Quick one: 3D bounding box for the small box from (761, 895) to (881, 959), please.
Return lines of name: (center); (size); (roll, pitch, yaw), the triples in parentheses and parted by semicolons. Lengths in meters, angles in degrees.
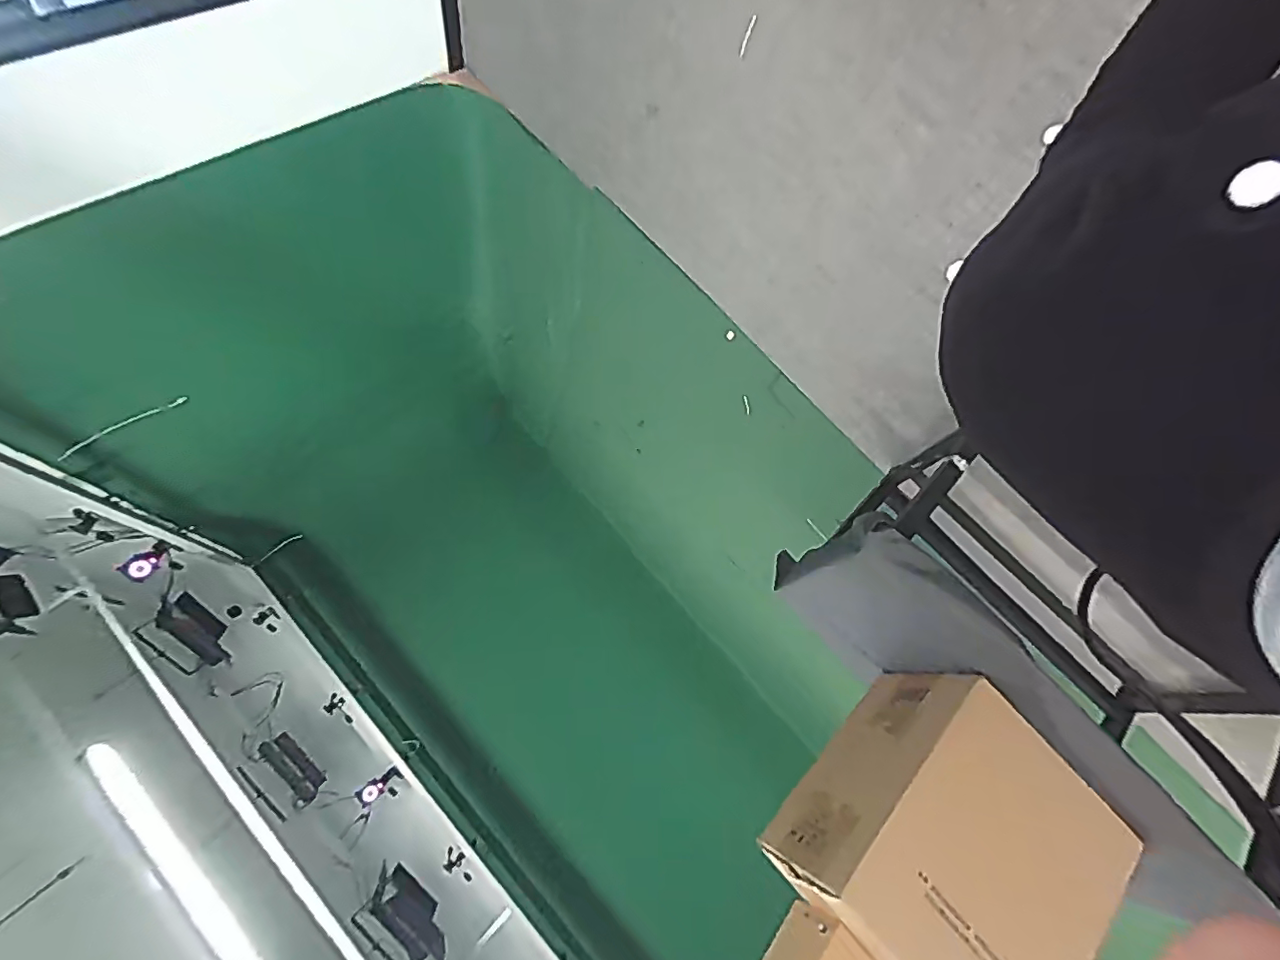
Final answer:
small box: (0.412, 1.079, 1.199); (0.179, 0.176, 0.168); (47, 151, 4)
